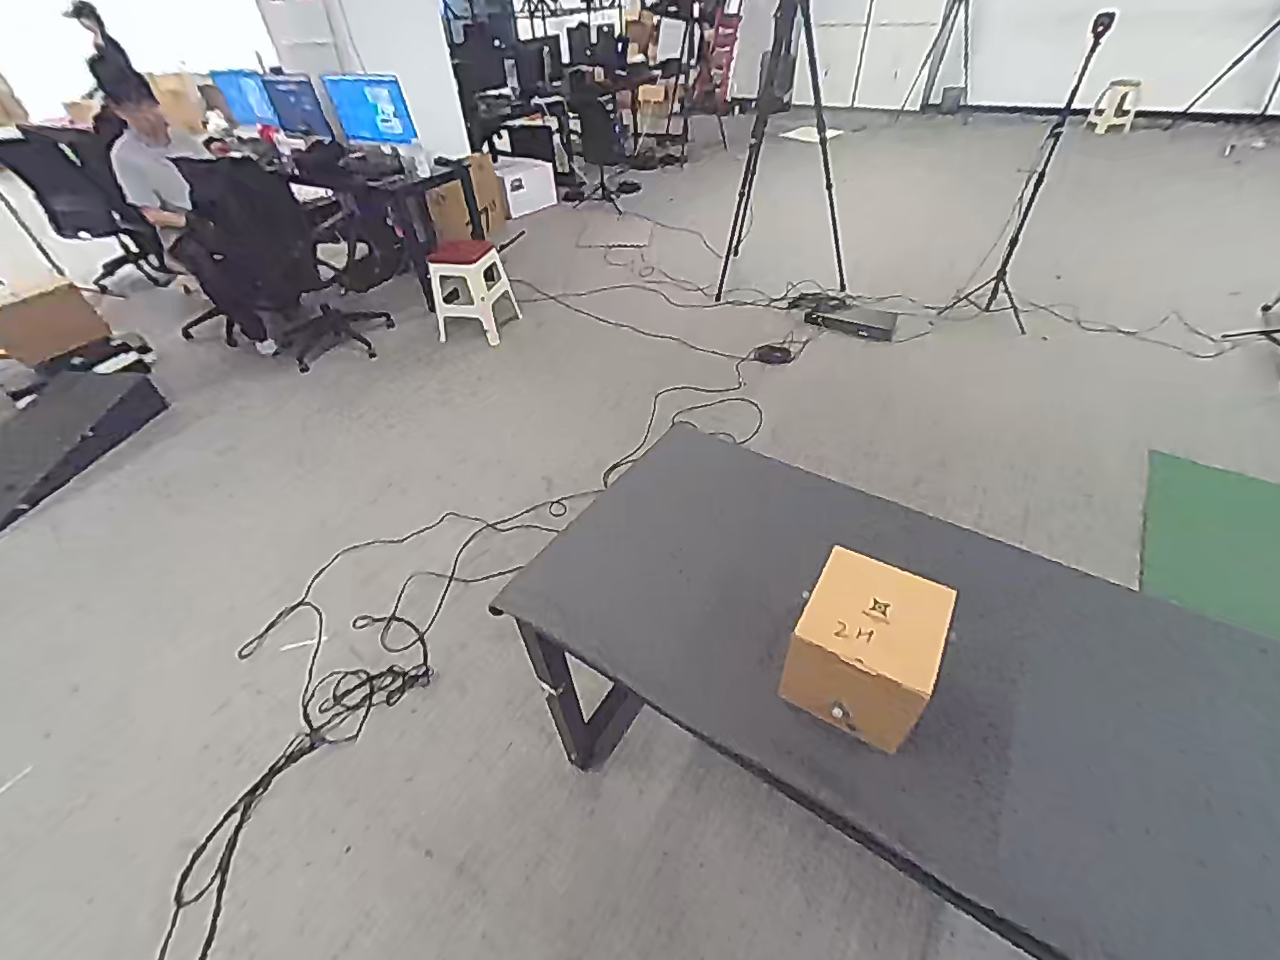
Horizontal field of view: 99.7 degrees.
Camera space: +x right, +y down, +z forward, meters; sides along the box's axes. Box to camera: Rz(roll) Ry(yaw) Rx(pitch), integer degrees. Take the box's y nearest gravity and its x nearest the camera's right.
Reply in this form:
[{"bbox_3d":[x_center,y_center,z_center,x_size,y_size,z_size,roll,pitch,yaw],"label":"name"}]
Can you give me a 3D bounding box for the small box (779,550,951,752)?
[{"bbox_3d":[0.308,0.237,0.762,0.168,0.176,0.179,21,47,25],"label":"small box"}]
